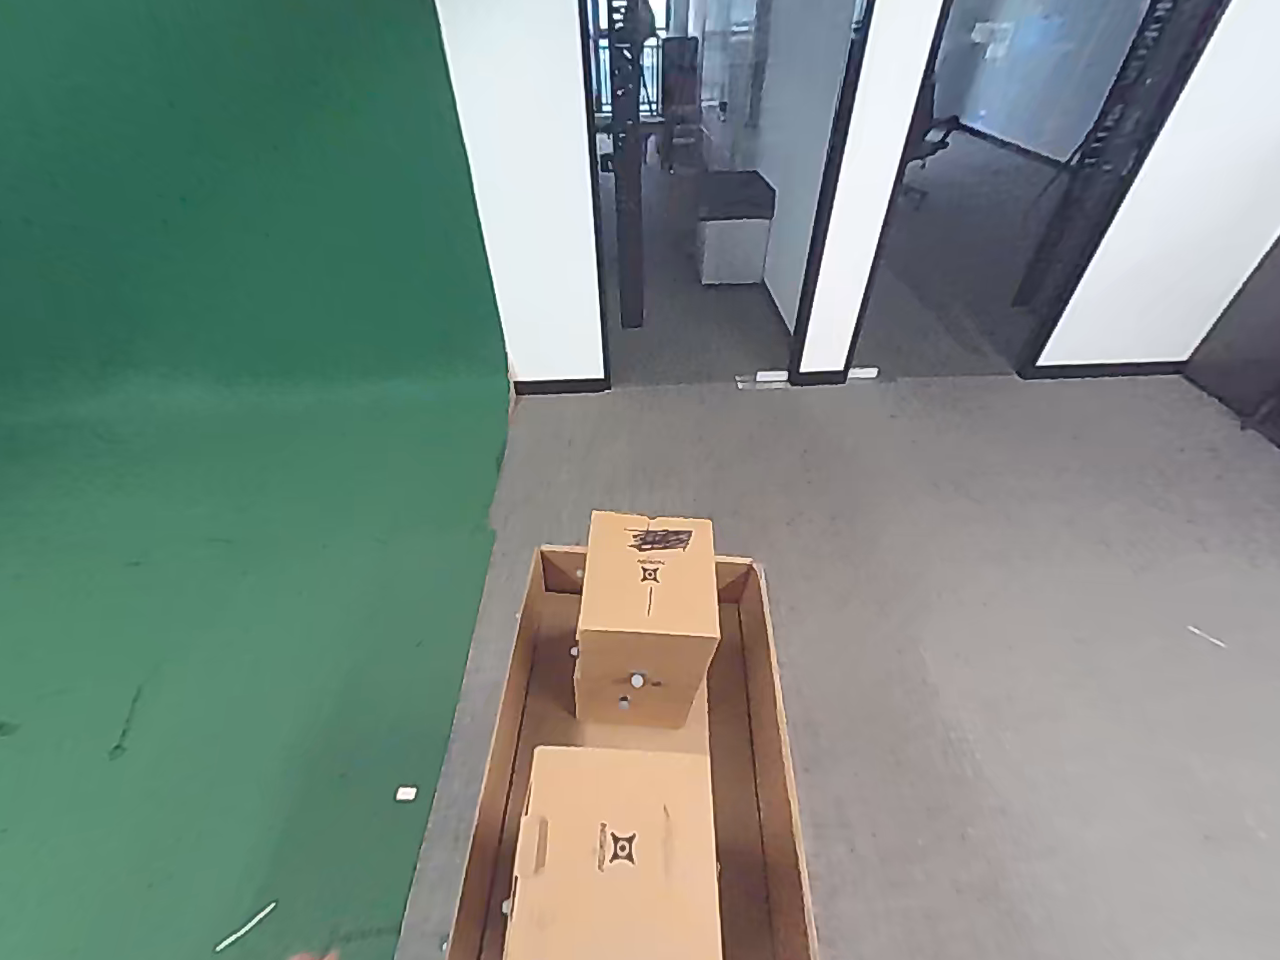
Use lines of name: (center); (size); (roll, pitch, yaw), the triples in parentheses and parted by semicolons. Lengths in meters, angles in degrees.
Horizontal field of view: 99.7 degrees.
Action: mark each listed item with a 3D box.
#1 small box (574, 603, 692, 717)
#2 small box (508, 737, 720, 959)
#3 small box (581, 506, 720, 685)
small box: (-0.005, 0.266, 0.866); (0.179, 0.176, 0.168); (4, 49, 0)
small box: (-0.025, 0.376, 0.545); (0.179, 0.176, 0.168); (5, 48, -3)
small box: (0.009, 0.159, 0.741); (0.168, 0.176, 0.179); (4, 49, -2)
